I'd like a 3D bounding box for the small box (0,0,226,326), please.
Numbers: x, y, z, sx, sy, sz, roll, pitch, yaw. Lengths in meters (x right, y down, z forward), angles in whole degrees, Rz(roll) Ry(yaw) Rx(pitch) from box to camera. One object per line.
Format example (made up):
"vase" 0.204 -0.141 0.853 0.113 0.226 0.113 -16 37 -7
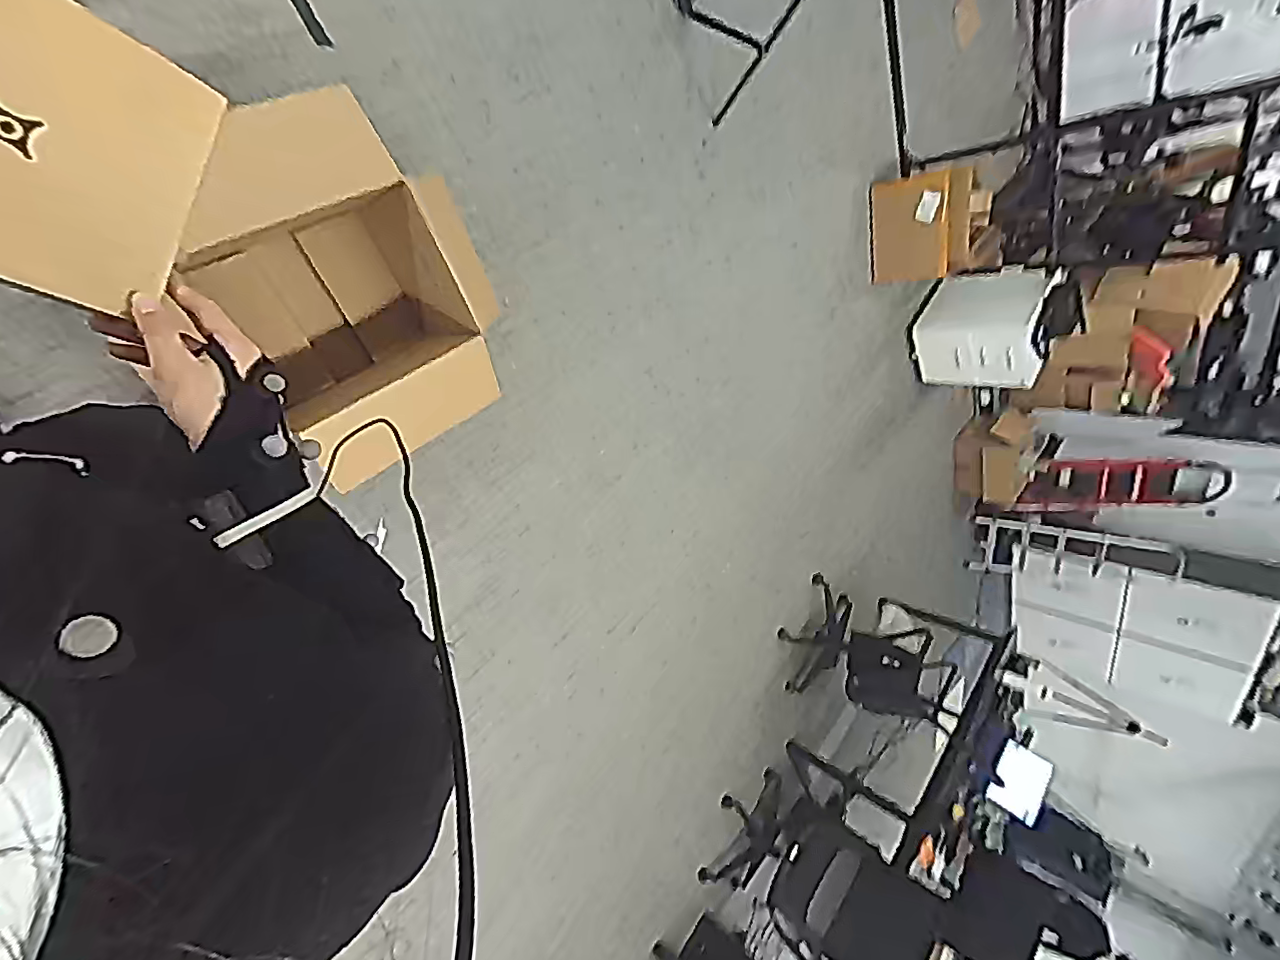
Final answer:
"small box" -0.411 -0.216 0.342 0.179 0.176 0.168 19 89 -51
